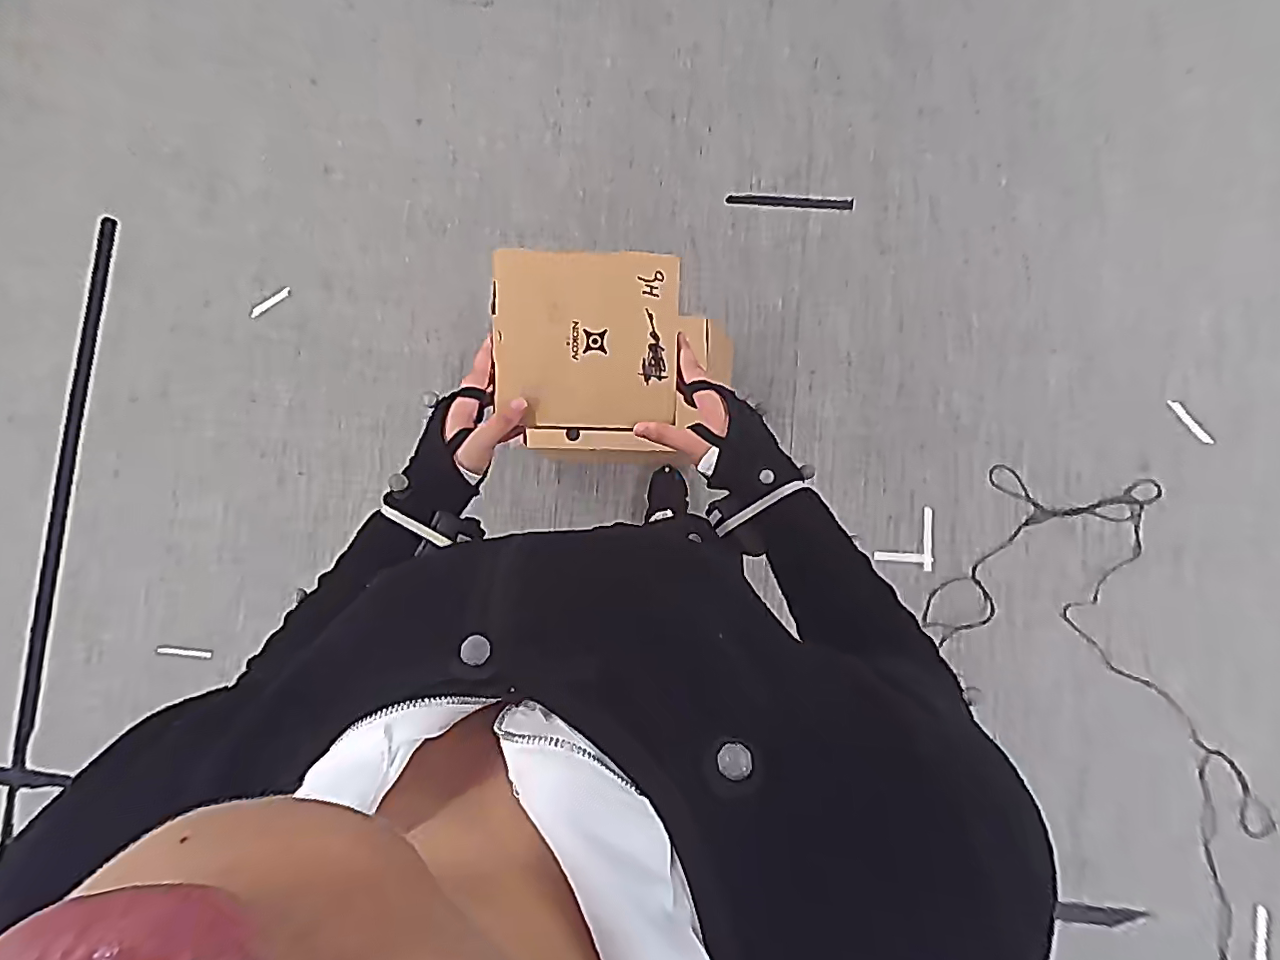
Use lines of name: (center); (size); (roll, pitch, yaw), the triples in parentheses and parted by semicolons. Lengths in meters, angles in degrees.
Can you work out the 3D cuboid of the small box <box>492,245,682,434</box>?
small box: (-0.052, -0.136, 0.582); (0.179, 0.176, 0.168); (1, 93, -3)
